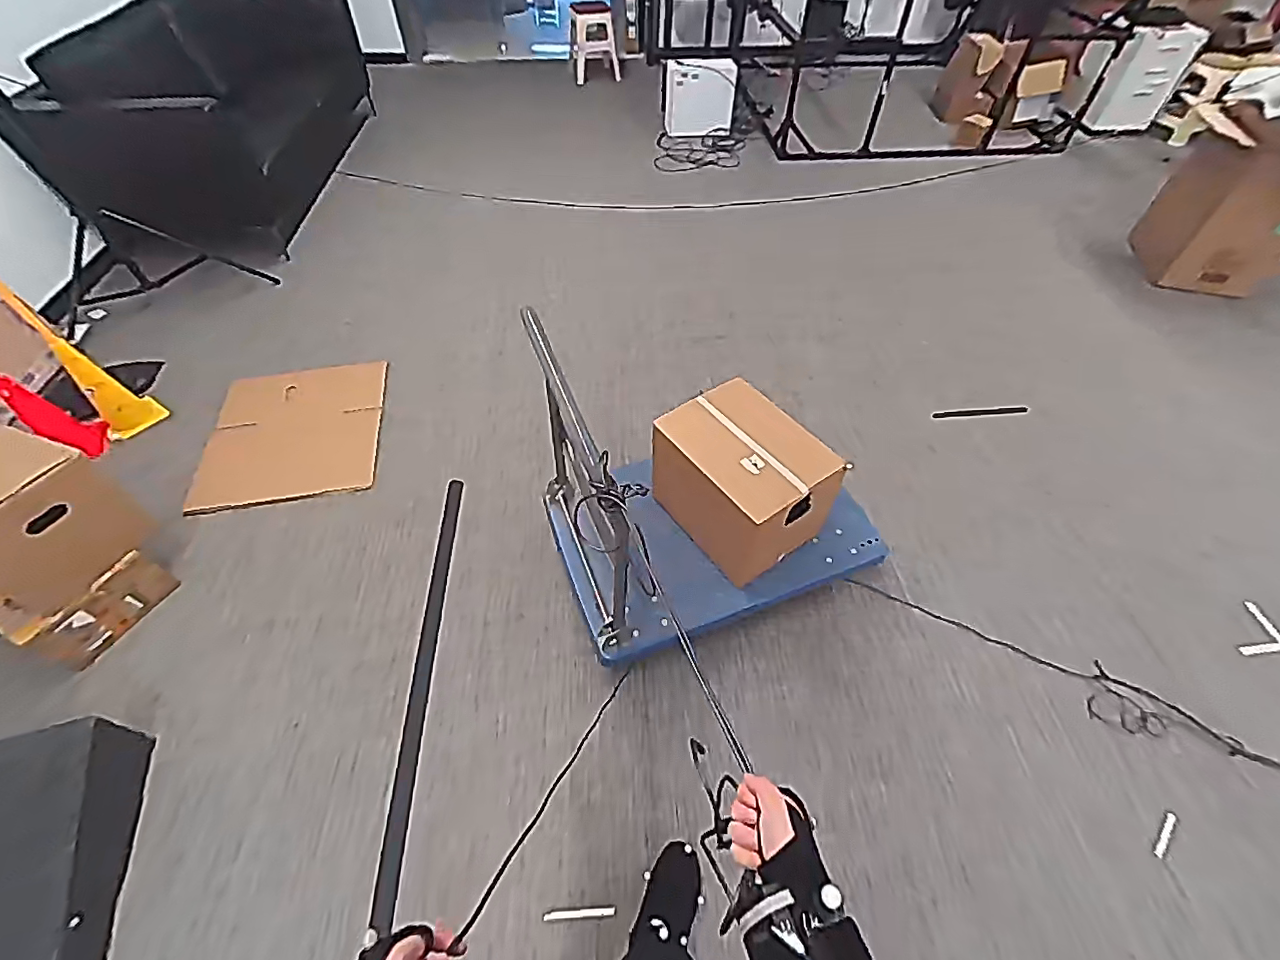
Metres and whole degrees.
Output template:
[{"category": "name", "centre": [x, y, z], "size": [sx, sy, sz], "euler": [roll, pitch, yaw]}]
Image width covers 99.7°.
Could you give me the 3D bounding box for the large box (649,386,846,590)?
[{"category": "large box", "centre": [0.268, 0.016, 1.486], "size": [0.320, 0.320, 0.408], "euler": [-30, 58, -22]}]
